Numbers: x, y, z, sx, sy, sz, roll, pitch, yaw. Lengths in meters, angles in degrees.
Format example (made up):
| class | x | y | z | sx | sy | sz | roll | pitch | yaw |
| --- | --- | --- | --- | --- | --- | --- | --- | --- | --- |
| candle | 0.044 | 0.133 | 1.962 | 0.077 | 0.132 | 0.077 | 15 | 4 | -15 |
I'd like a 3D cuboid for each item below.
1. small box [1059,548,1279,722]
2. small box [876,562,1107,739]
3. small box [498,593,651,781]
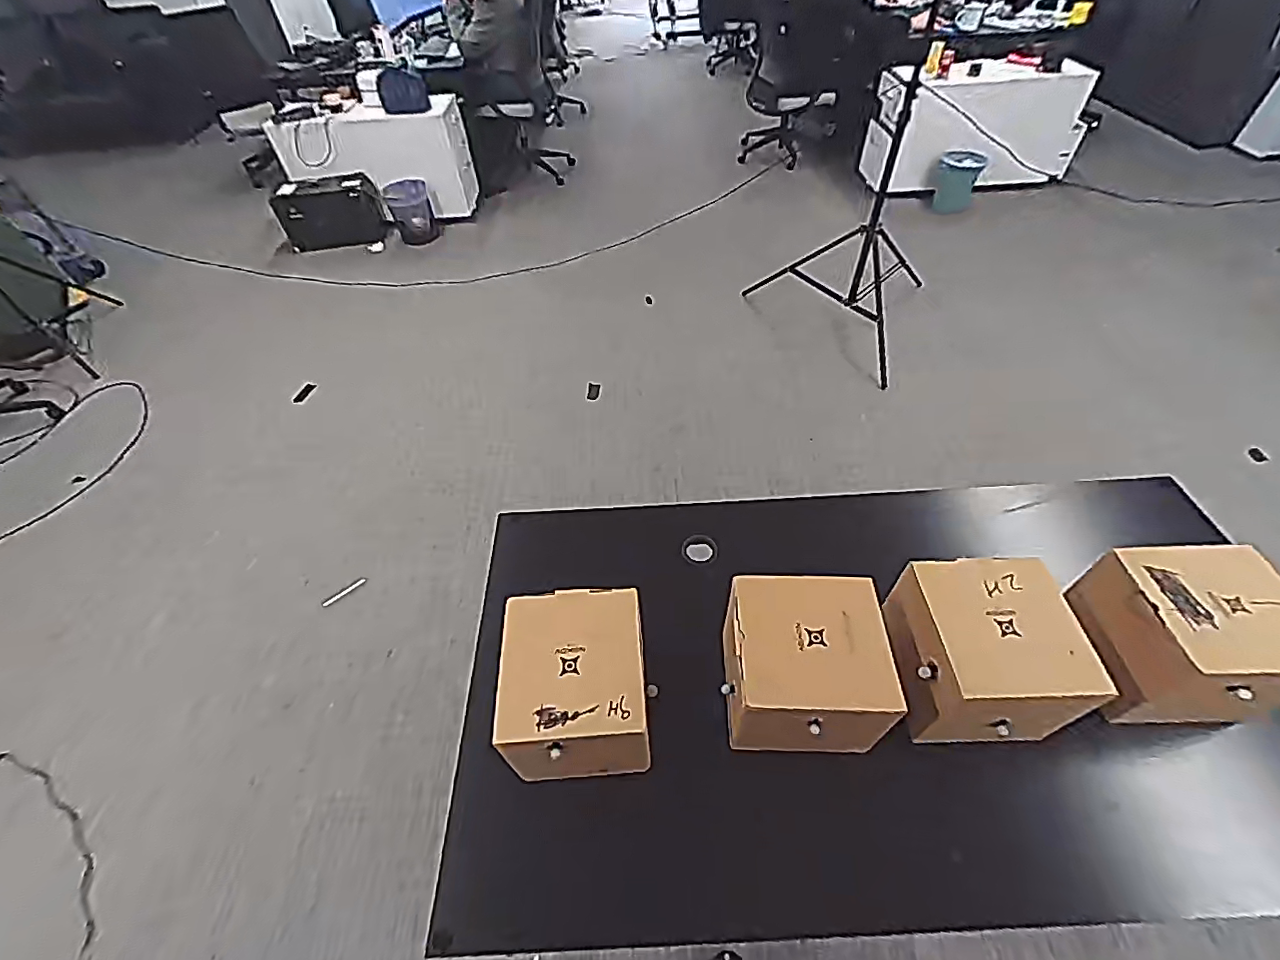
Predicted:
| class | x | y | z | sx | sy | sz | roll | pitch | yaw |
| --- | --- | --- | --- | --- | --- | --- | --- | --- | --- |
| small box | 0.691 | 0.205 | 0.704 | 0.179 | 0.176 | 0.168 | -1 | 48 | 2 |
| small box | 0.431 | 0.226 | 0.702 | 0.168 | 0.176 | 0.179 | -2 | 48 | 2 |
| small box | -0.073 | 0.267 | 0.698 | 0.168 | 0.176 | 0.179 | -4 | 49 | 0 |
